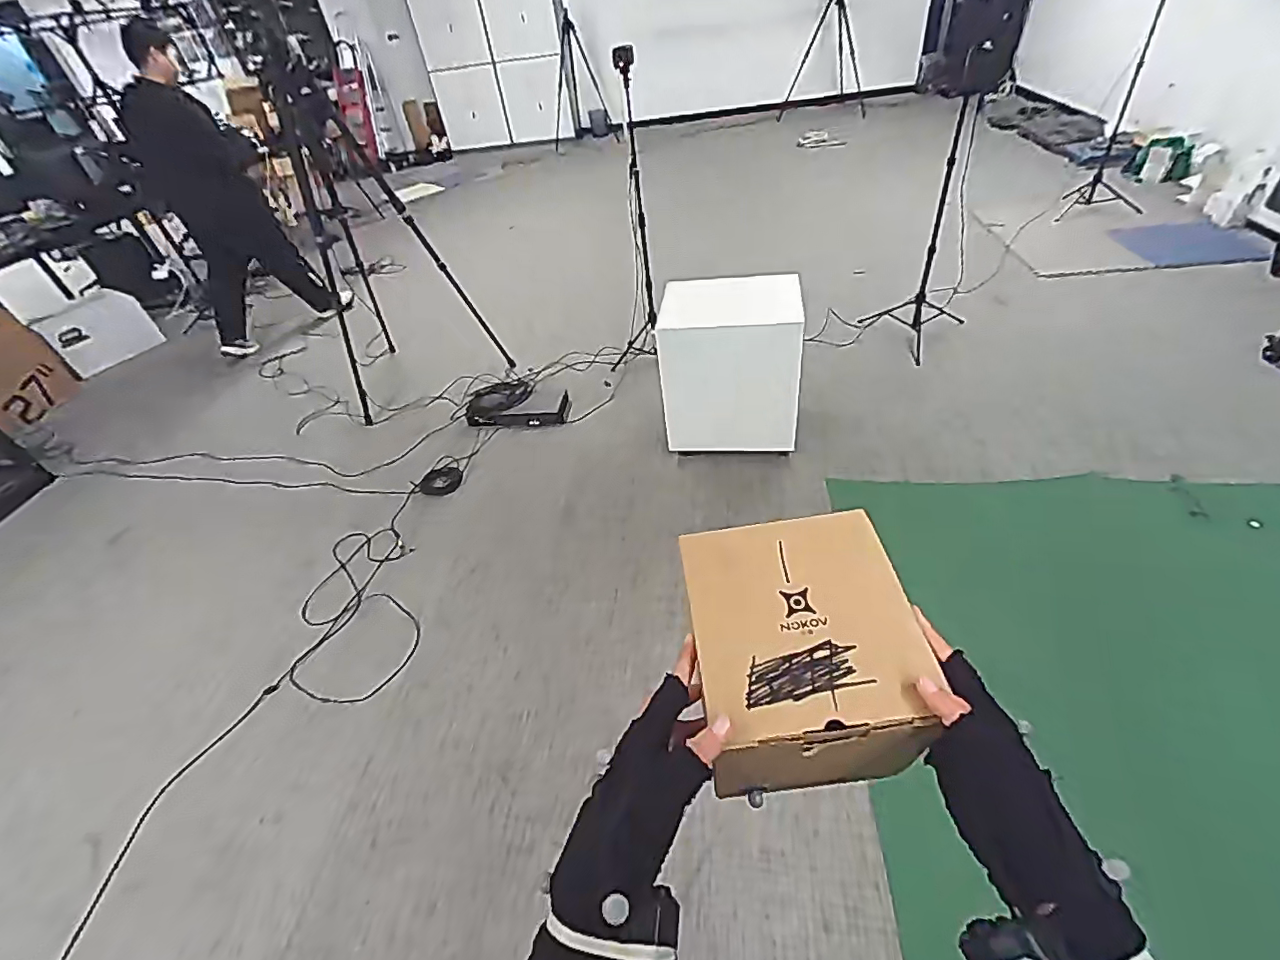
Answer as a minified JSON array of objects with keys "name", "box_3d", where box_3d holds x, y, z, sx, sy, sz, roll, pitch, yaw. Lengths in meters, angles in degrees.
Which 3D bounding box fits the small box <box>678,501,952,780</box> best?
[{"name":"small box","box_3d":[0.129,0.145,0.470,0.168,0.176,0.179,-8,48,2]}]
